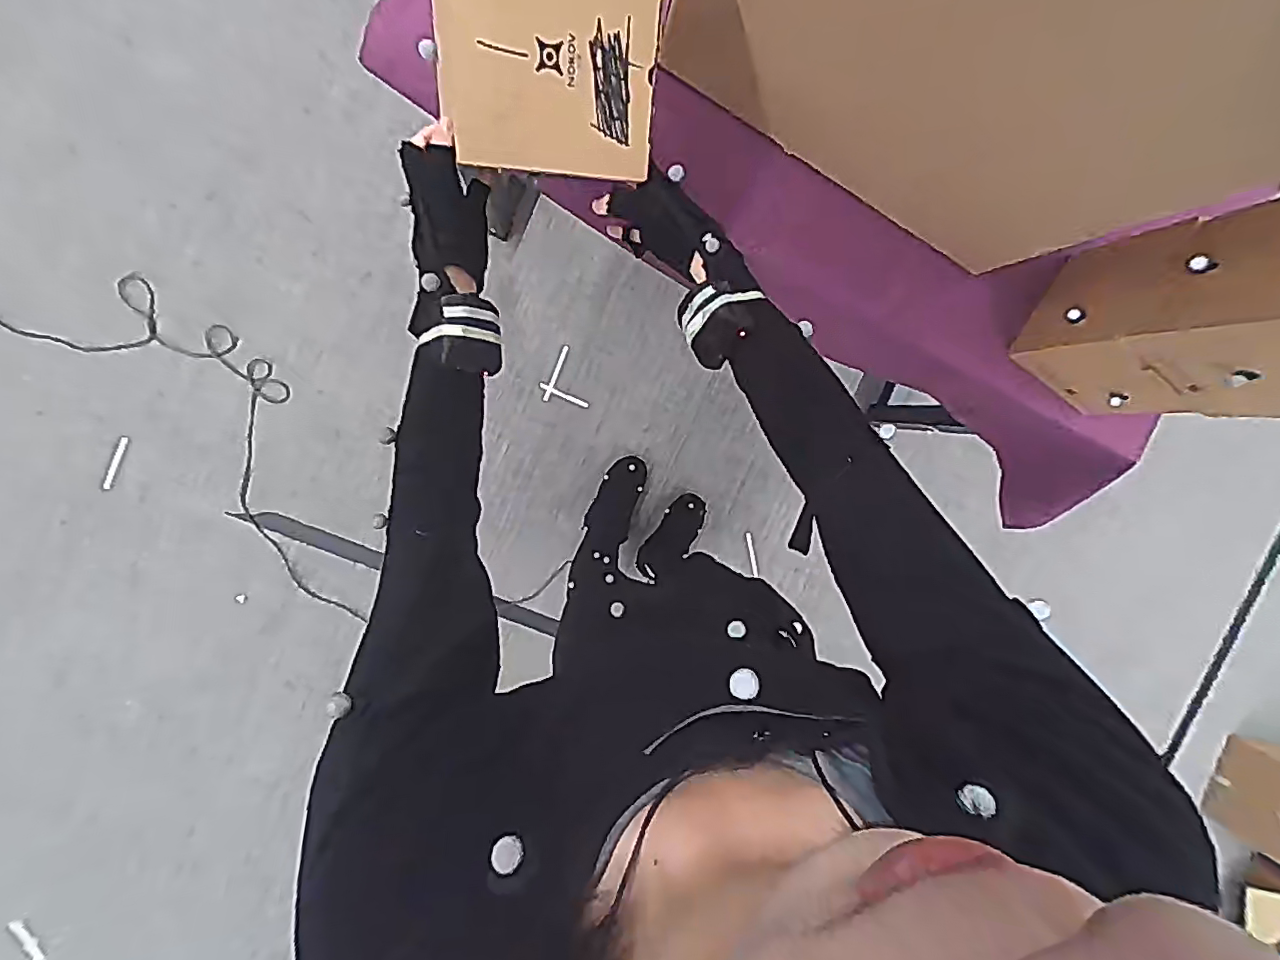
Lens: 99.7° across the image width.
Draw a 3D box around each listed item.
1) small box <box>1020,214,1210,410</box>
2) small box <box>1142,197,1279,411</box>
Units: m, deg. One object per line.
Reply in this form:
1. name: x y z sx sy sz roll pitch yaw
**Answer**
1. small box: 0.665 -0.208 0.728 0.168 0.176 0.179 31 91 -11
2. small box: 0.695 -0.184 0.569 0.168 0.176 0.179 35 92 -11
